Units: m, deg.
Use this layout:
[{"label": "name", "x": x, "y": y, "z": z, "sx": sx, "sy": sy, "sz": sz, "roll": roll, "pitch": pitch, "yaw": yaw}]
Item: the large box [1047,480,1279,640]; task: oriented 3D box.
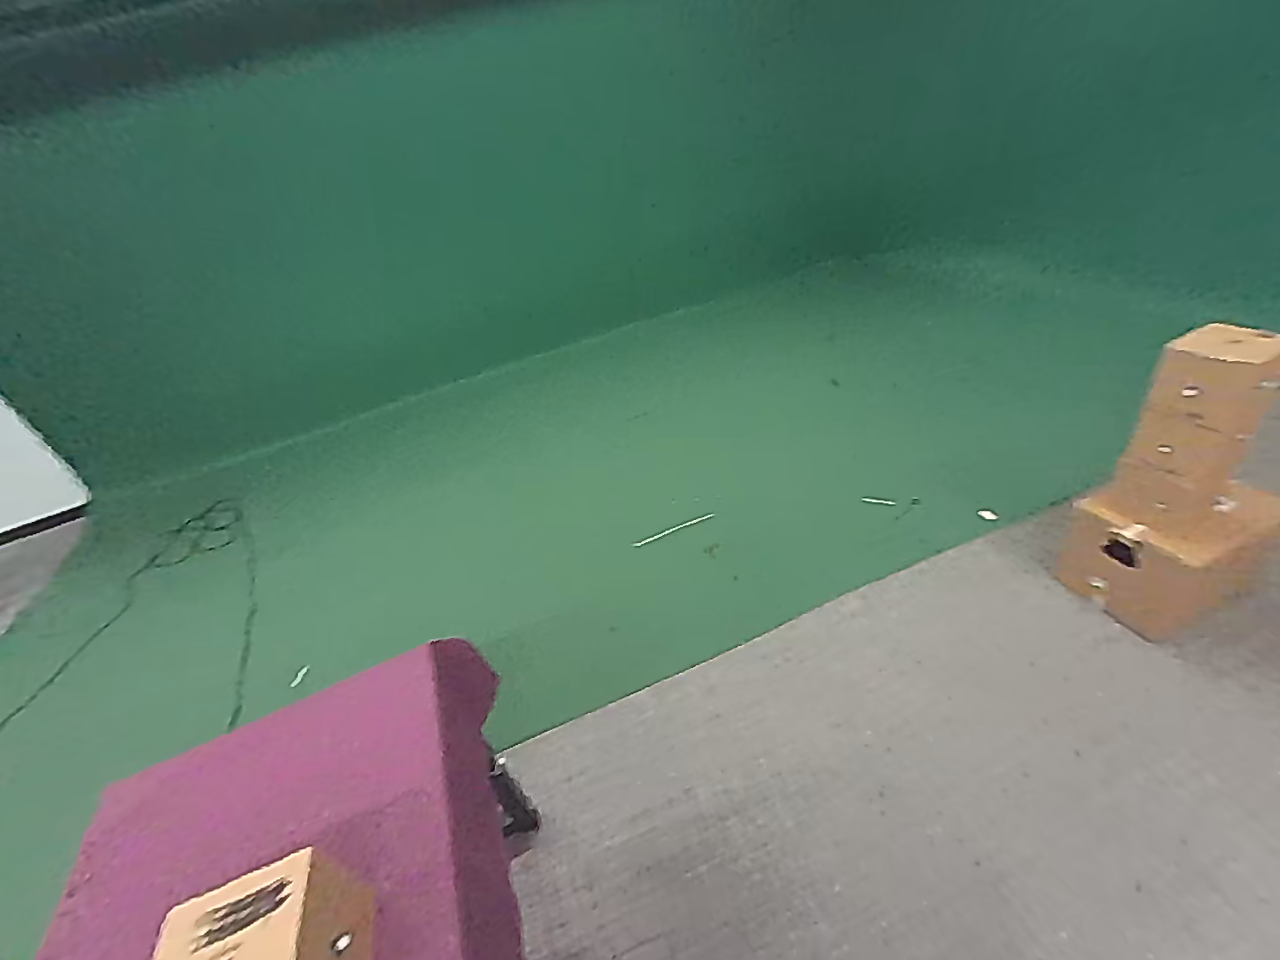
[{"label": "large box", "x": 1.524, "y": 0.197, "z": 1.597, "sx": 0.408, "sy": 0.320, "sz": 0.320, "roll": -21, "pitch": 36, "yaw": -11}]

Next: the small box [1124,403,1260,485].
[{"label": "small box", "x": 1.378, "y": -0.112, "z": 1.366, "sx": 0.179, "sy": 0.176, "sz": 0.168, "roll": -24, "pitch": 37, "yaw": -15}]

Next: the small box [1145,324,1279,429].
[{"label": "small box", "x": 1.345, "y": -0.242, "z": 1.270, "sx": 0.179, "sy": 0.176, "sz": 0.168, "roll": -24, "pitch": 36, "yaw": -13}]

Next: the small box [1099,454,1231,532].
[{"label": "small box", "x": 1.405, "y": 0.020, "z": 1.459, "sx": 0.168, "sy": 0.176, "sz": 0.179, "roll": -22, "pitch": 35, "yaw": -12}]
